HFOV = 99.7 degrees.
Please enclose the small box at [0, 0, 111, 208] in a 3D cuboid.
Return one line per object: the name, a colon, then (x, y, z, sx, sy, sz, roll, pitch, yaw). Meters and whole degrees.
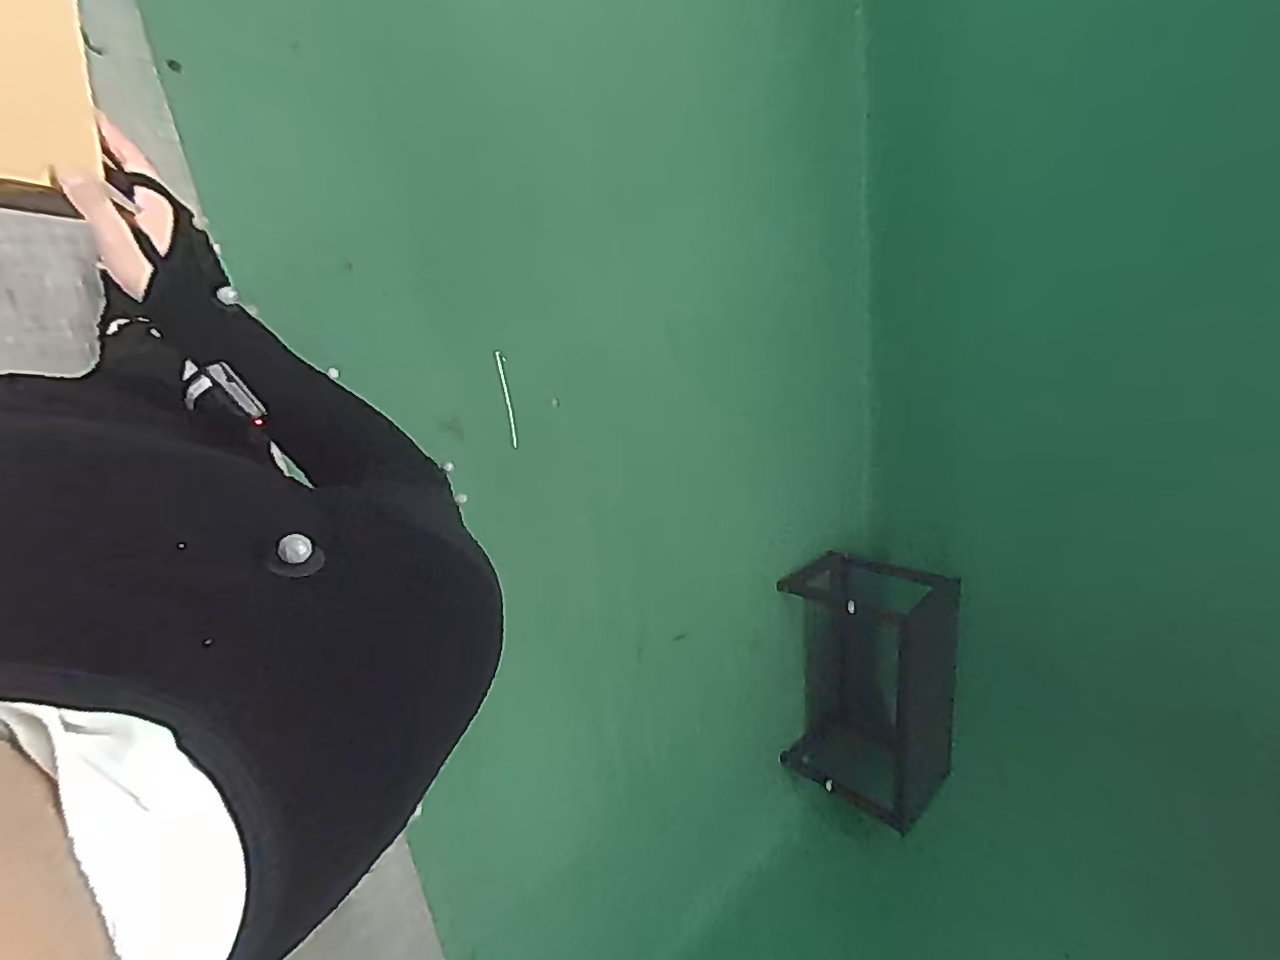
small box: (-0.540, -0.329, 0.415, 0.168, 0.176, 0.179, -11, 110, -46)
